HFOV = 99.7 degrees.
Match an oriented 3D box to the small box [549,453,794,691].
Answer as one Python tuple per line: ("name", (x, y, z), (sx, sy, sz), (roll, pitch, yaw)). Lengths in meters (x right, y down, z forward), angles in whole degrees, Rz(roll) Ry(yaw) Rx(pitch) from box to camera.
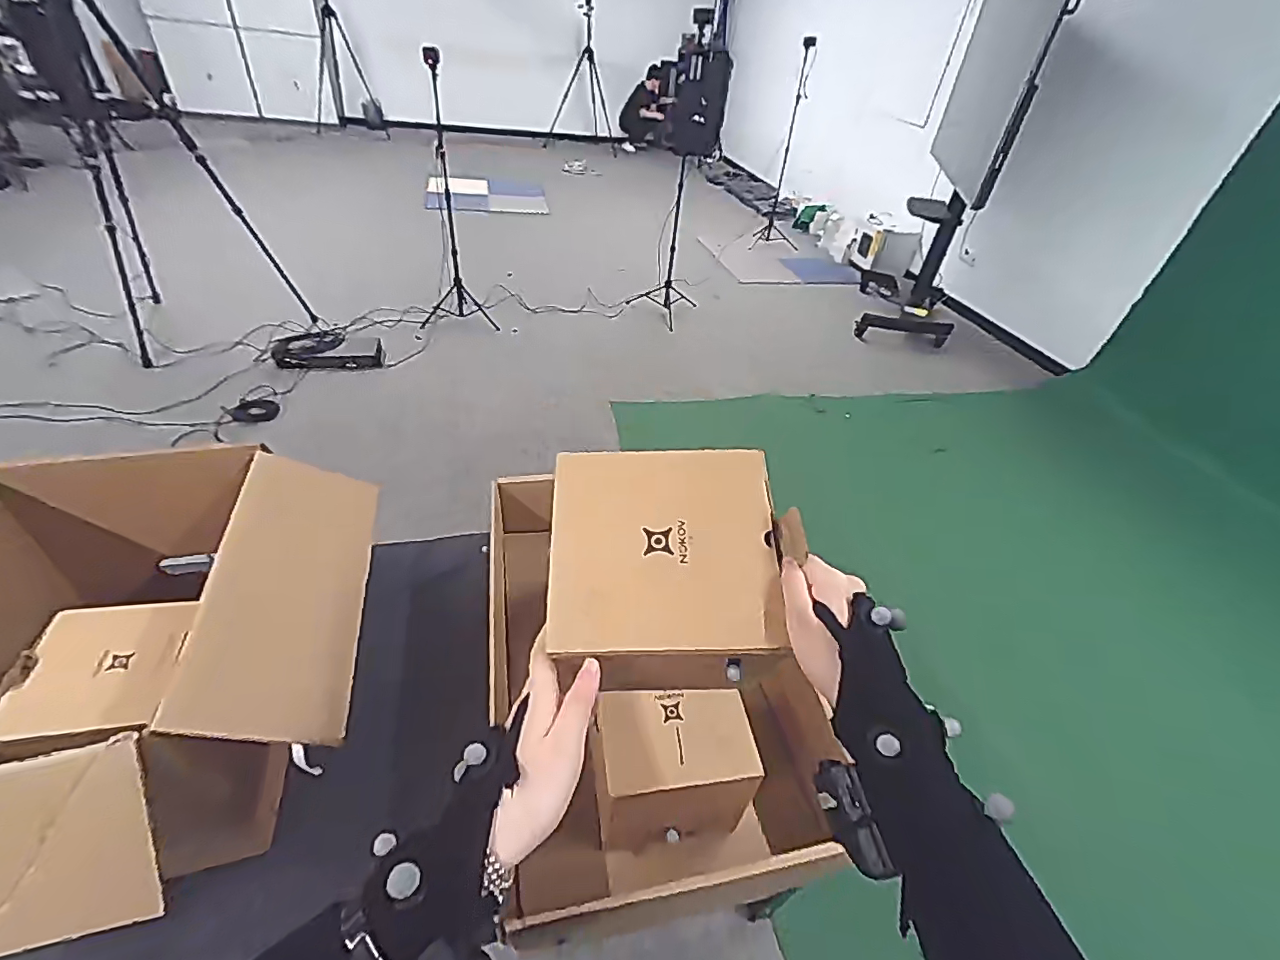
("small box", (0.021, 0.090, 0.486), (0.179, 0.176, 0.168), (-1, 60, -1))
